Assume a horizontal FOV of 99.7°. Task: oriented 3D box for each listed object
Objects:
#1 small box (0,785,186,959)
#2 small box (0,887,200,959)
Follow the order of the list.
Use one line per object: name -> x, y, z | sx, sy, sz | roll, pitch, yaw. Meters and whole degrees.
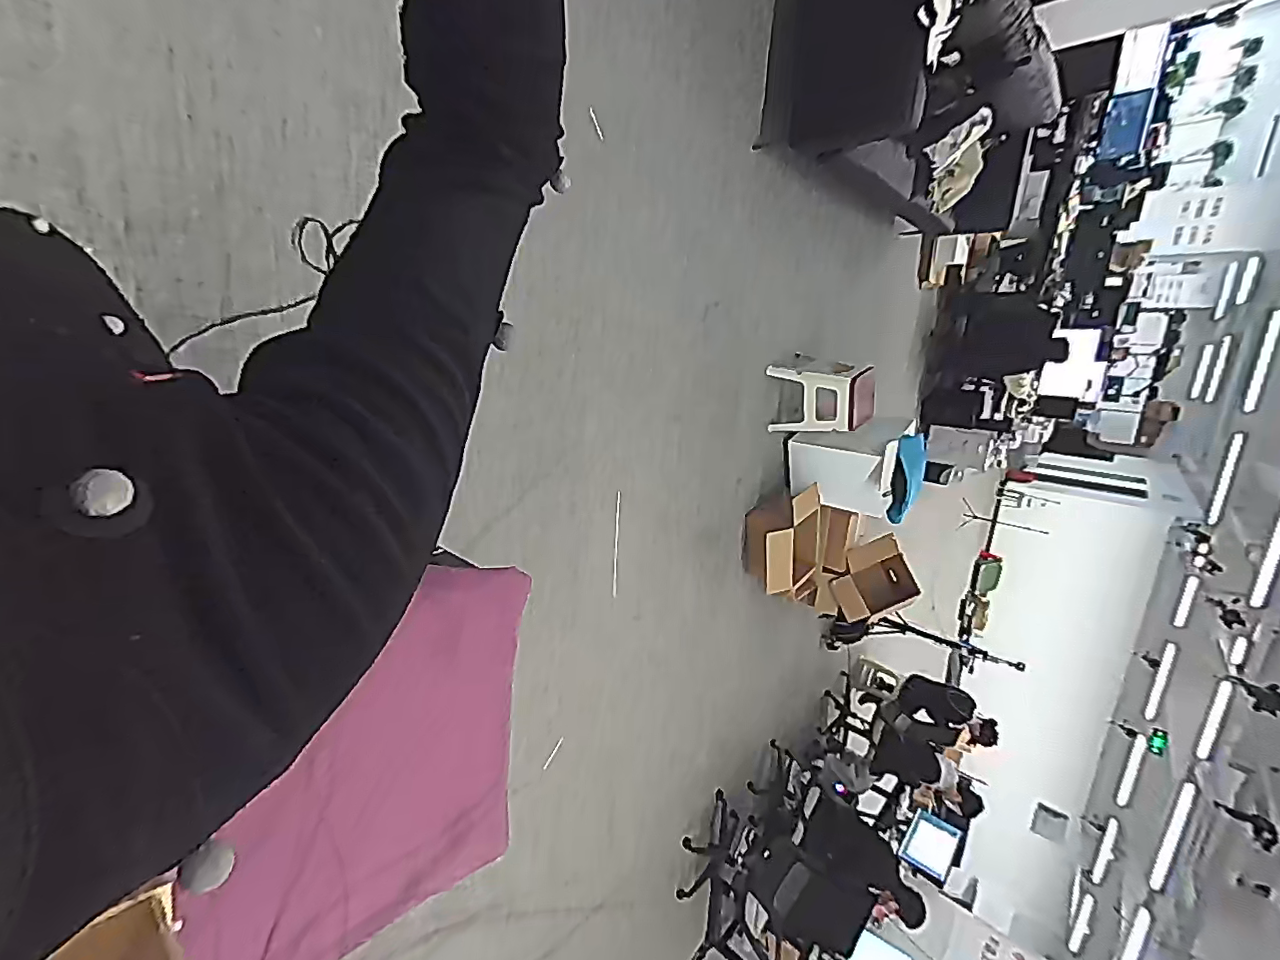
small box -> -0.593, 0.467, 0.559 | 0.168, 0.176, 0.179 | -3, 104, -50
small box -> -0.478, 0.504, 0.452 | 0.179, 0.176, 0.168 | -5, 106, -49
